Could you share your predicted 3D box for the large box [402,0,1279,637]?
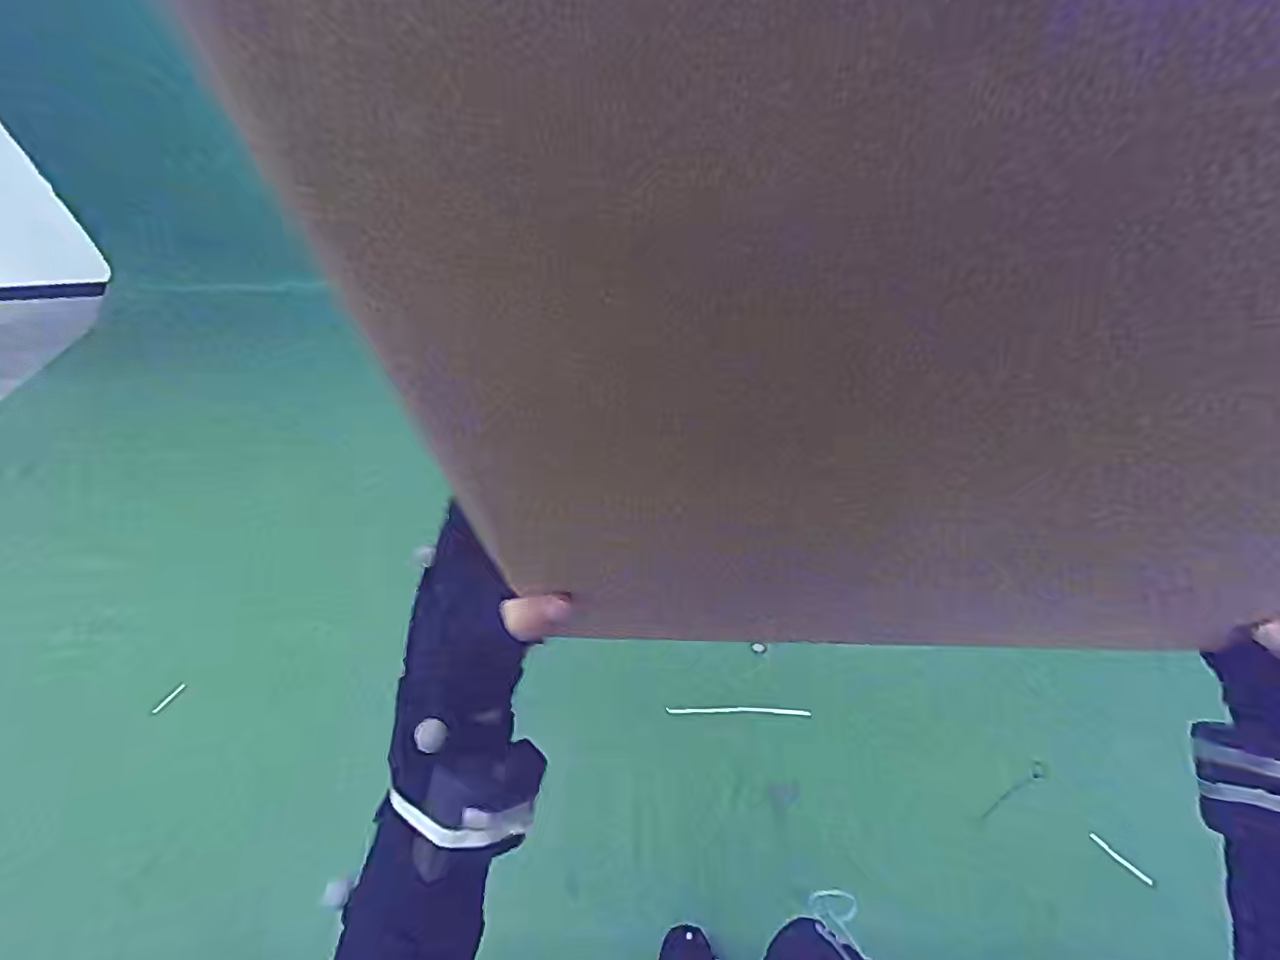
[{"bbox_3d":[0.155,-0.114,0.270,0.408,0.320,0.320,1,61,-3],"label":"large box"}]
